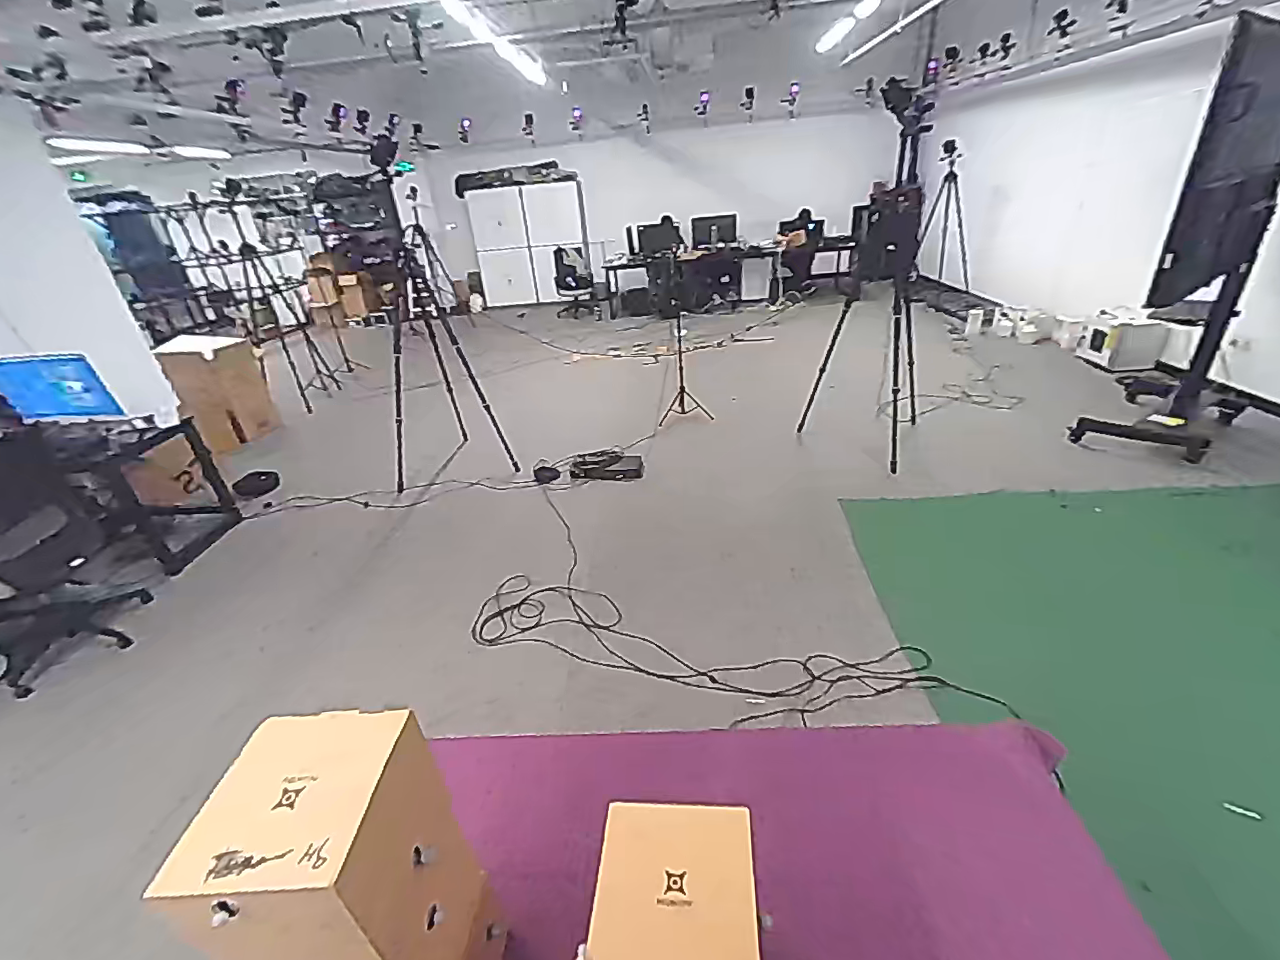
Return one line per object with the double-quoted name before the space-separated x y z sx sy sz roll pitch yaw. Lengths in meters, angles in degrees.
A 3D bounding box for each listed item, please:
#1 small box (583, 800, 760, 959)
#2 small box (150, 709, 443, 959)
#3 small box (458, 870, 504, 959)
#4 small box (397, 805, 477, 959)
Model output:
"small box" 0.042 0.487 0.588 0.168 0.176 0.179 -3 28 8
"small box" -0.320 0.366 0.554 0.168 0.176 0.179 -5 27 3
"small box" -0.288 0.653 0.710 0.168 0.176 0.179 -5 29 4
"small box" -0.304 0.513 0.624 0.168 0.176 0.179 -5 27 4
